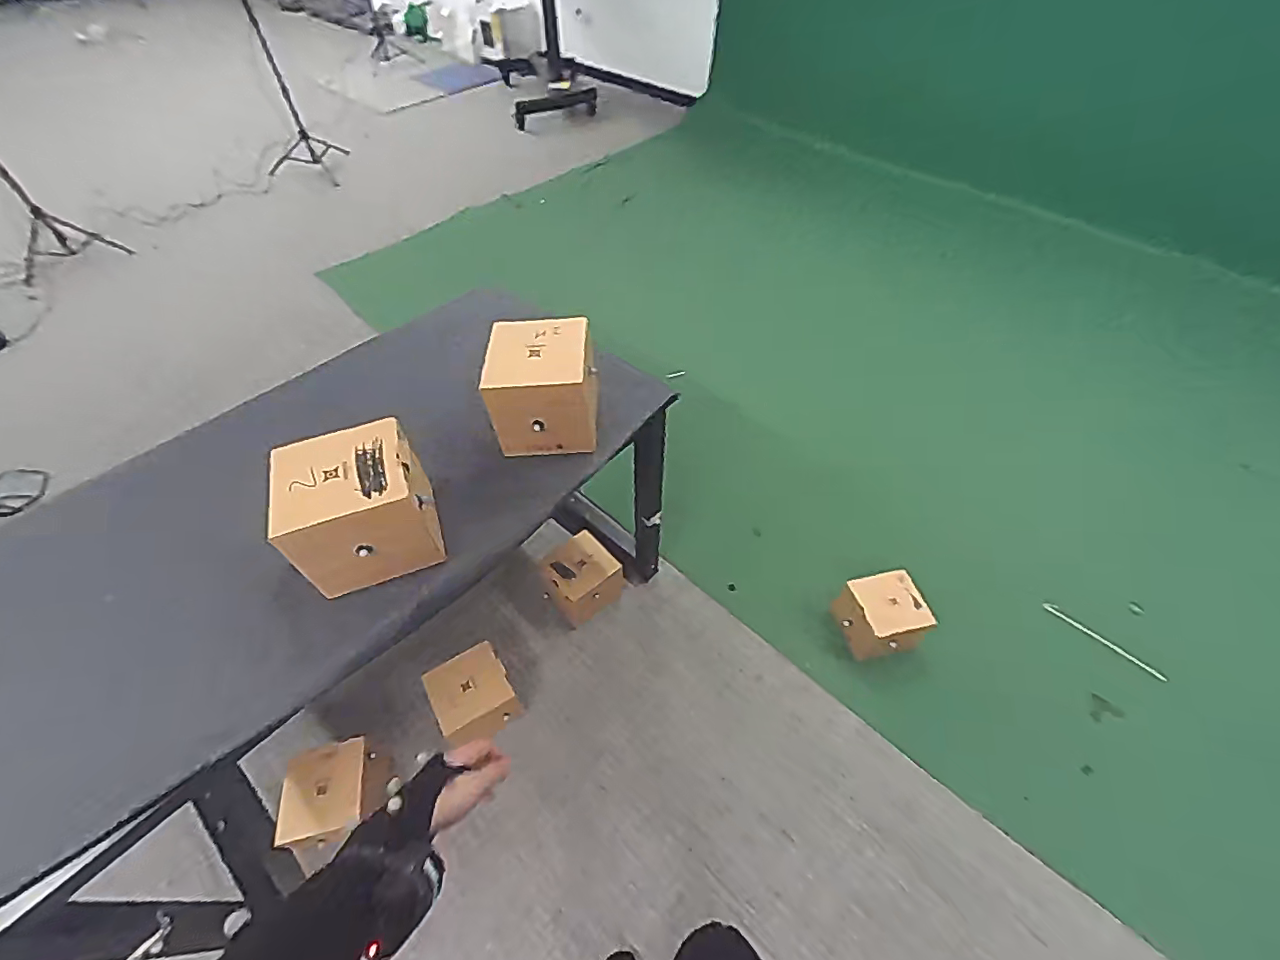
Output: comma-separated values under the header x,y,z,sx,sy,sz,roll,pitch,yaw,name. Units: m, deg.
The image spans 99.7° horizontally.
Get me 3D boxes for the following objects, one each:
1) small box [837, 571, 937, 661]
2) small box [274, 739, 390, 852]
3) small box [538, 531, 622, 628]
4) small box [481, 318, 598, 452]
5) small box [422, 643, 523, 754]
x,y,z,sx,sy,sz,roll,pitch,yaw,name
0.658,0.375,1.472,0.179,0.176,0.168,-10,52,-8,small box
-0.670,0.705,1.200,0.168,0.176,0.179,-11,52,-9,small box
-0.164,0.286,1.532,0.179,0.176,0.168,-34,60,-26,small box
-0.164,-0.160,0.952,0.168,0.176,0.179,-2,51,1,small box
-0.403,0.540,1.331,0.179,0.176,0.168,-28,56,-19,small box
